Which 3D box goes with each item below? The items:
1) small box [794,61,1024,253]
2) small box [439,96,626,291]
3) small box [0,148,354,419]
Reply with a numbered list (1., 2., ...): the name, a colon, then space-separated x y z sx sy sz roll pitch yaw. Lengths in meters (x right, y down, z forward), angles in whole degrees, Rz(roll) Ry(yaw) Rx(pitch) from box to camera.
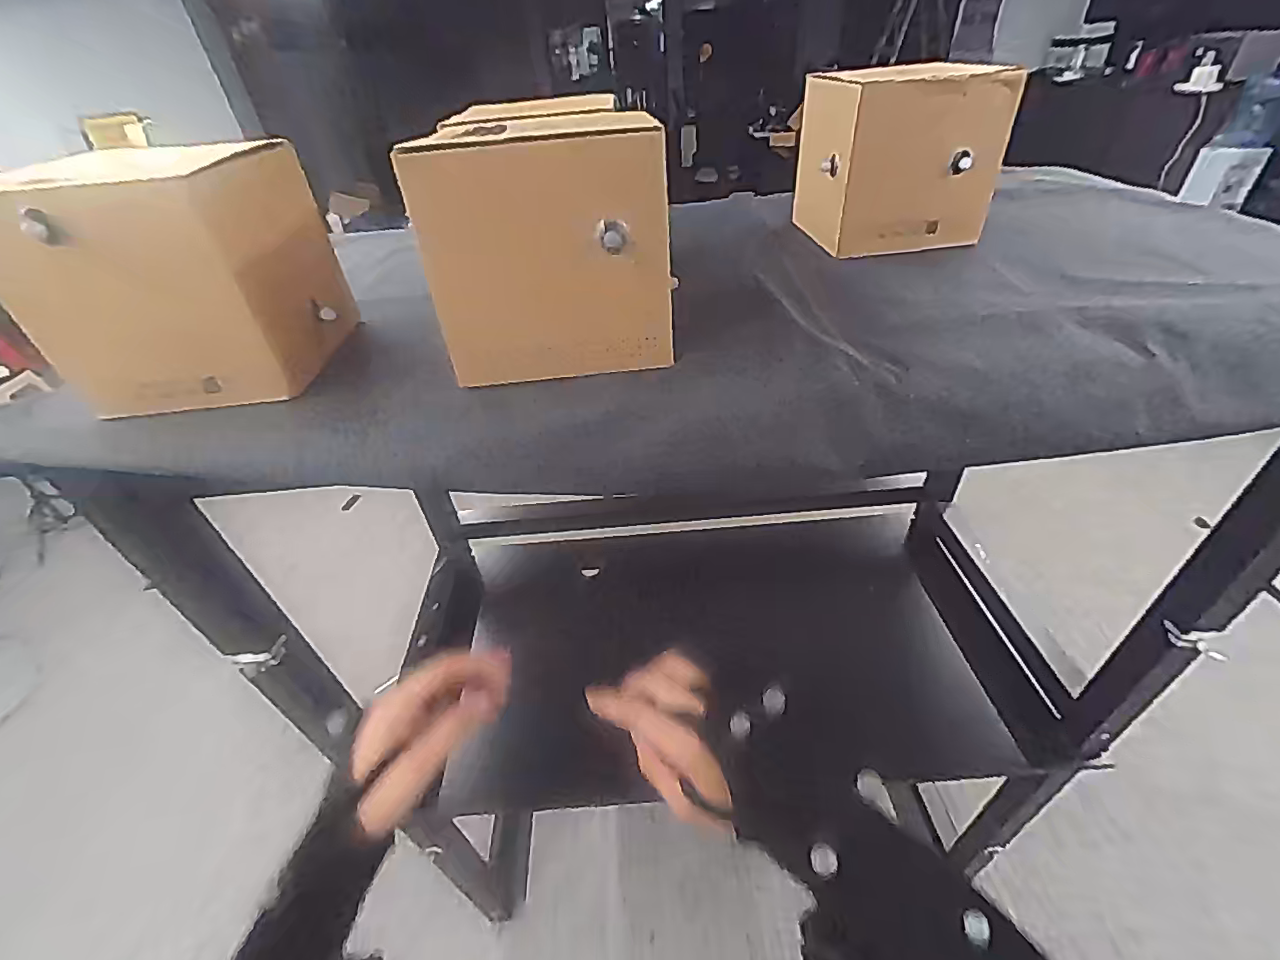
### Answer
1. small box: 0.291 -0.374 0.633 0.168 0.176 0.179 -6 39 -1
2. small box: -0.108 -0.338 0.641 0.179 0.176 0.168 -5 39 2
3. small box: -0.374 -0.170 0.460 0.168 0.176 0.179 -6 38 -2
